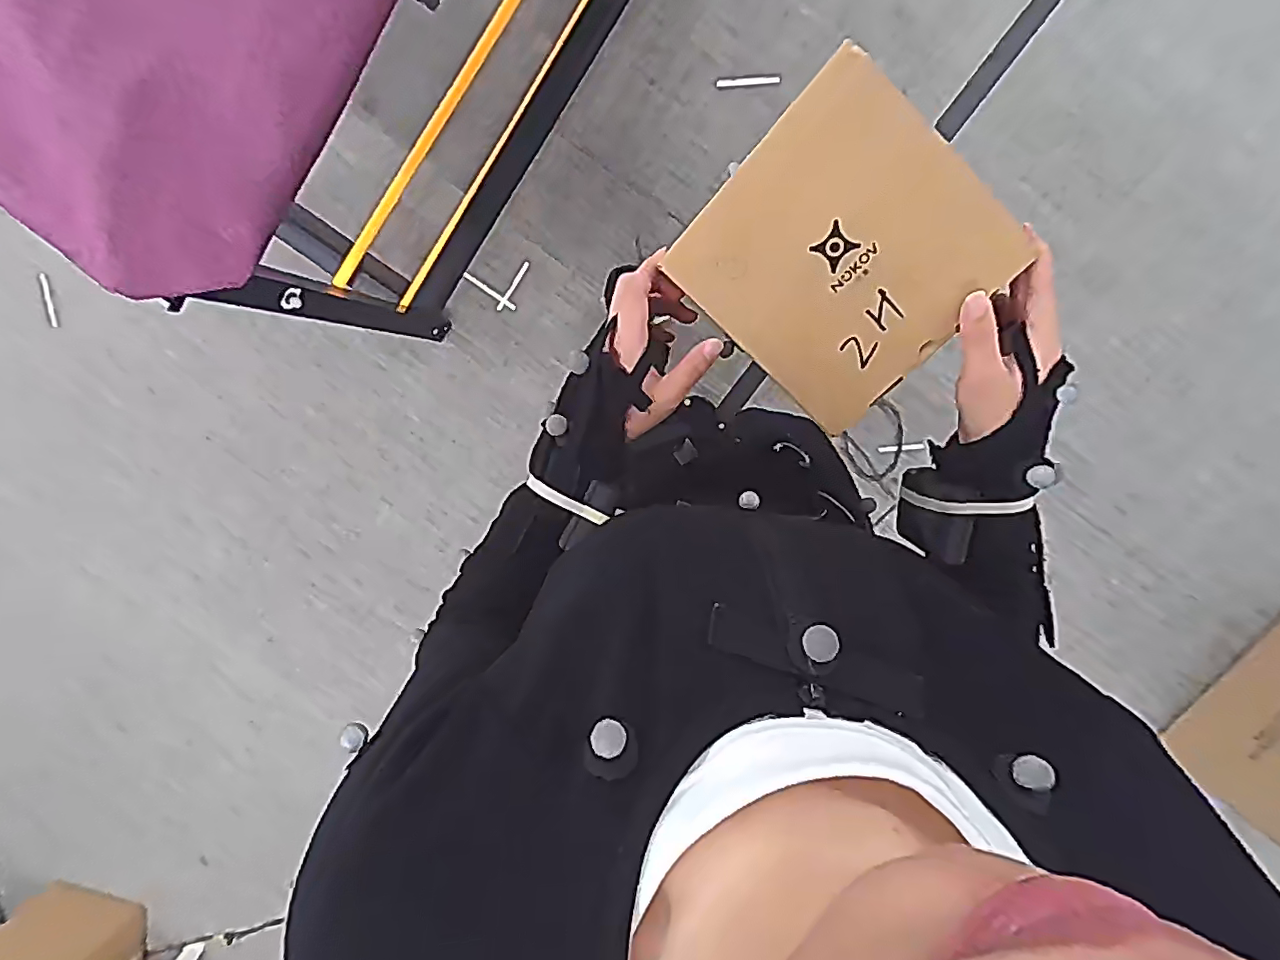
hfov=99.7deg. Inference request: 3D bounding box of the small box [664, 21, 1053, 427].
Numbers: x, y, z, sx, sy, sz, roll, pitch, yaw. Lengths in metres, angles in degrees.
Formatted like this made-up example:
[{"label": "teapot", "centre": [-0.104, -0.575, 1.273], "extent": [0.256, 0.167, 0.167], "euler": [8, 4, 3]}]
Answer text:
[{"label": "small box", "centre": [0.140, -0.170, 0.409], "extent": [0.179, 0.176, 0.168], "euler": [42, 109, -8]}]
